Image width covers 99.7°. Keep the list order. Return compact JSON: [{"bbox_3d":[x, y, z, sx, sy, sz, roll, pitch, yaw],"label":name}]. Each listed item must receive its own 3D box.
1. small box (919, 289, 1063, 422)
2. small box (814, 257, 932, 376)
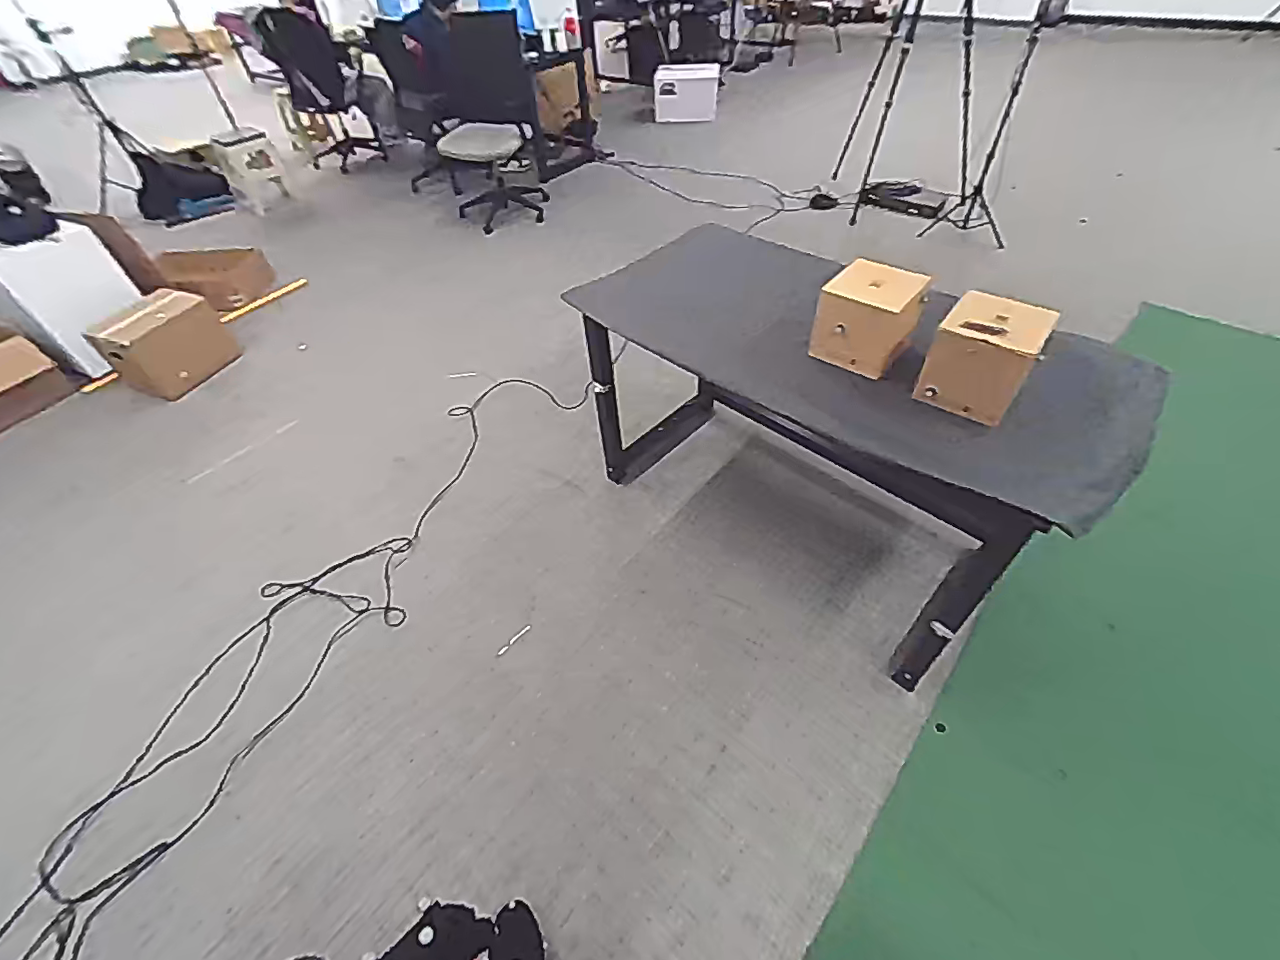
[{"bbox_3d":[0.673,-0.242,1.056,0.168,0.176,0.179,30,55,28],"label":"small box"},{"bbox_3d":[0.497,-0.353,1.176,0.168,0.176,0.179,31,56,28],"label":"small box"}]
